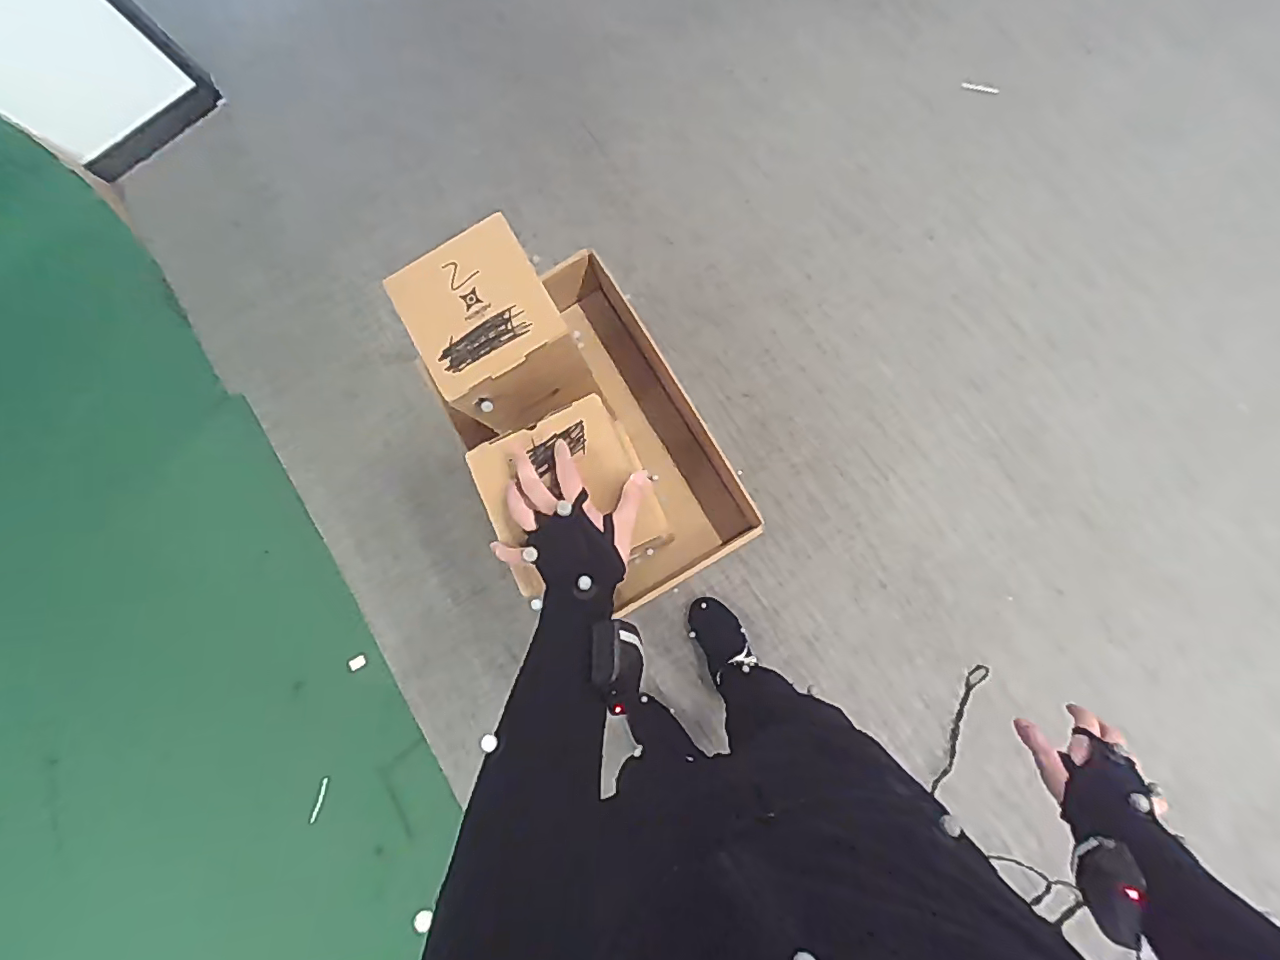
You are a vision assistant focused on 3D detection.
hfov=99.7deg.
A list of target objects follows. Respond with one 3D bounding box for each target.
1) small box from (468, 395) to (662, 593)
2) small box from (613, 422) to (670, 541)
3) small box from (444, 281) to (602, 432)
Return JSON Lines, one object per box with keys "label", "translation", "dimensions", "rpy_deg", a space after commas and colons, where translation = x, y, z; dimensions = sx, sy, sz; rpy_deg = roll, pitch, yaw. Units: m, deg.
{"label": "small box", "translation": [-0.081, 0.024, 0.671], "dimensions": [0.168, 0.176, 0.179], "rpy_deg": [-25, 82, 1]}
{"label": "small box", "translation": [-0.060, 0.036, 0.833], "dimensions": [0.168, 0.176, 0.179], "rpy_deg": [-25, 81, 1]}
{"label": "small box", "translation": [-0.178, -0.177, 0.875], "dimensions": [0.168, 0.176, 0.179], "rpy_deg": [-31, 83, 0]}
